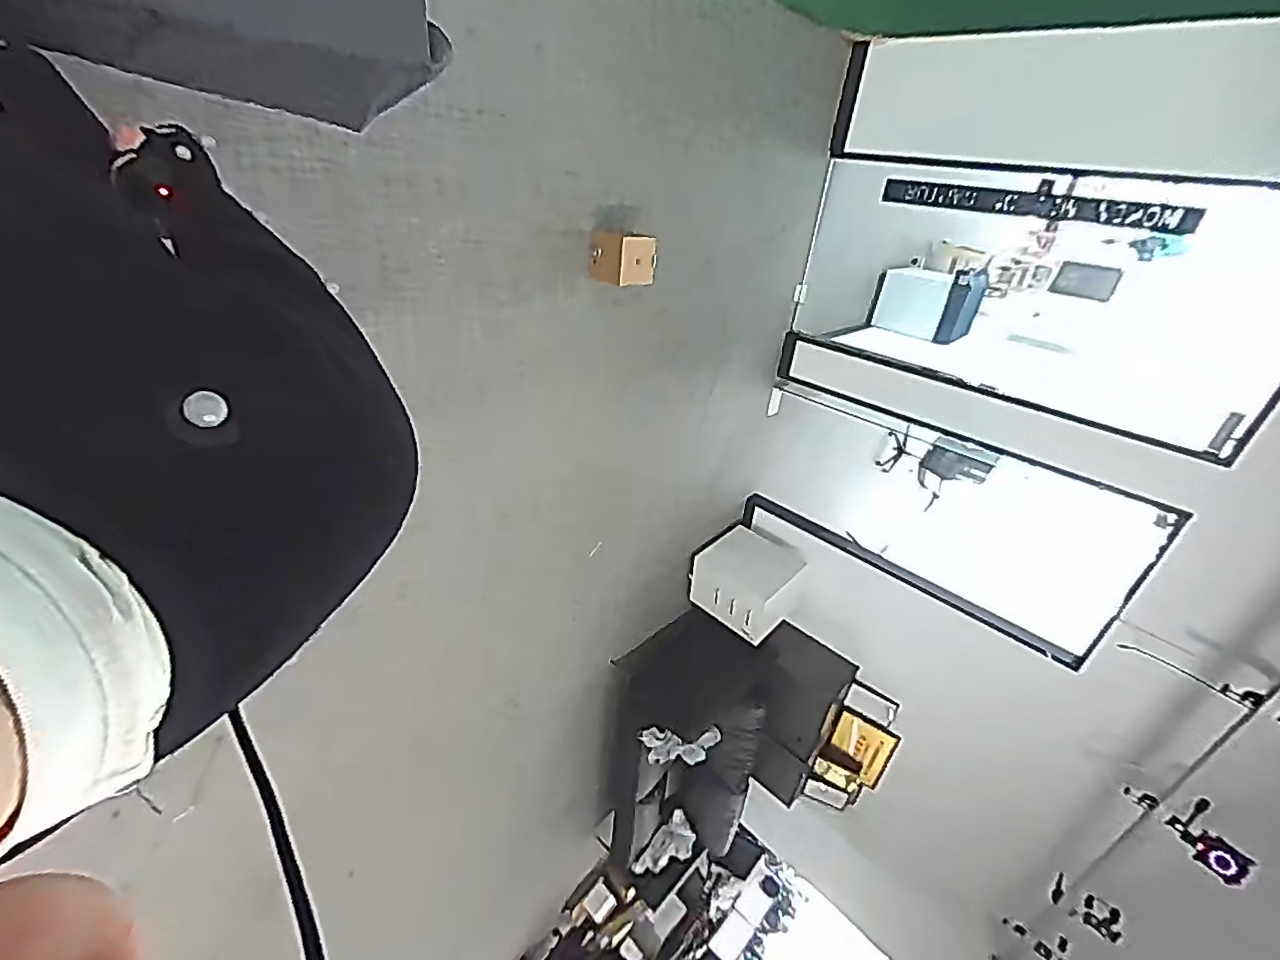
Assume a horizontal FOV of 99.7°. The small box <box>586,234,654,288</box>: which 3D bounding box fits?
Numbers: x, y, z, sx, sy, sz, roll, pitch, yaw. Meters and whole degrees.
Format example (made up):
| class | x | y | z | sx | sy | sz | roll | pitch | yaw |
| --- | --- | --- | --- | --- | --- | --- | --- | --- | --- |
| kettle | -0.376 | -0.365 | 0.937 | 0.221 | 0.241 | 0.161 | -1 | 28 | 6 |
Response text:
| class | x | y | z | sx | sy | sz | roll | pitch | yaw |
| --- | --- | --- | --- | --- | --- | --- | --- | --- | --- |
| small box | -0.074 | -0.804 | 1.984 | 0.179 | 0.176 | 0.168 | -21 | 127 | -43 |
